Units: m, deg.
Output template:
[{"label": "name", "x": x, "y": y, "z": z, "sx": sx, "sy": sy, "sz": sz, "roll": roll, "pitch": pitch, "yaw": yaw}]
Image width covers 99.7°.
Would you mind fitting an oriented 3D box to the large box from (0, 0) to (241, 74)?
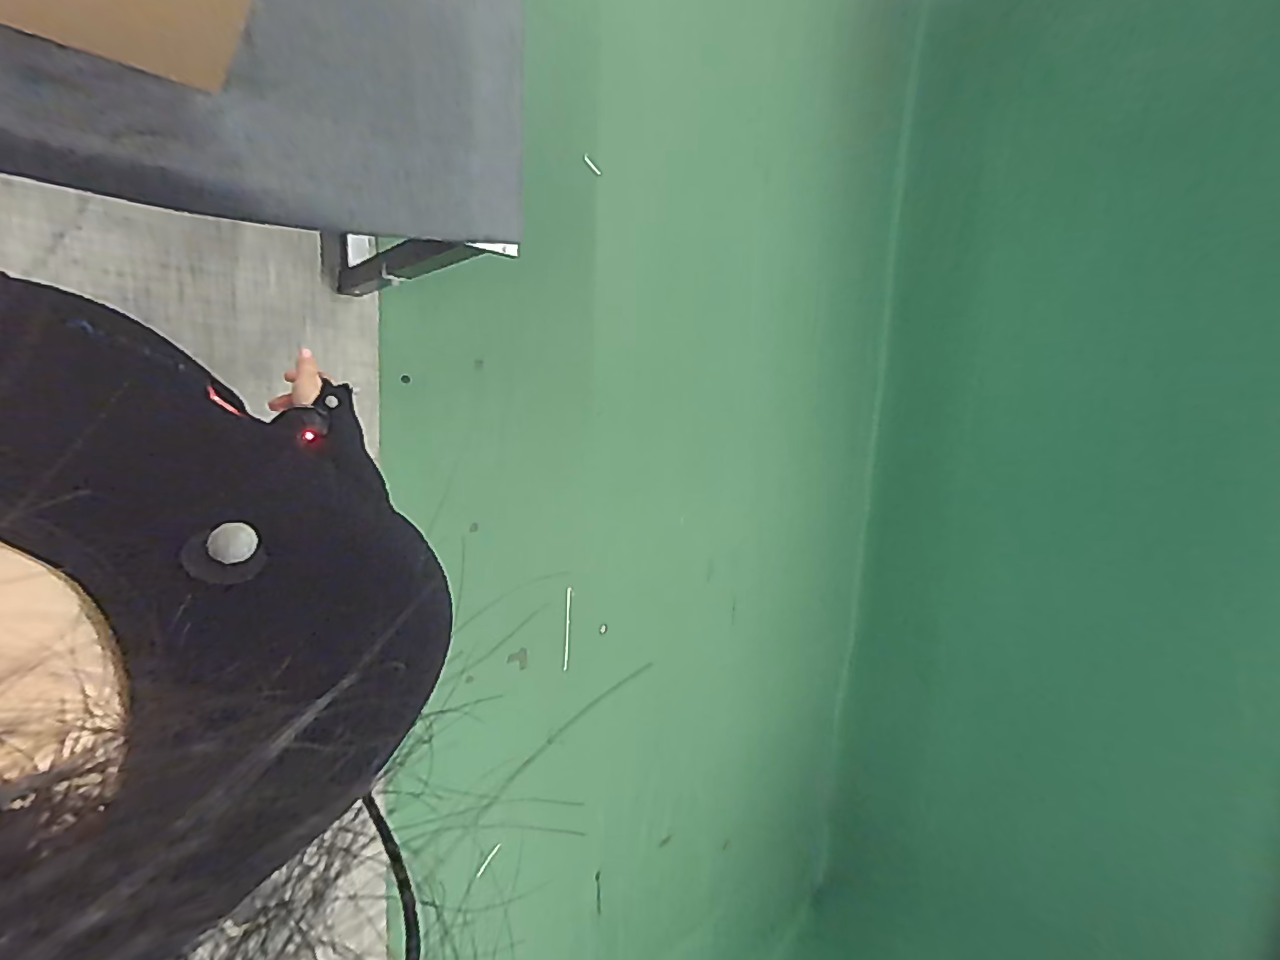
[{"label": "large box", "x": -0.505, "y": -0.553, "z": 0.331, "sx": 0.408, "sy": 0.320, "sz": 0.320, "roll": -7, "pitch": 103, "yaw": -44}]
